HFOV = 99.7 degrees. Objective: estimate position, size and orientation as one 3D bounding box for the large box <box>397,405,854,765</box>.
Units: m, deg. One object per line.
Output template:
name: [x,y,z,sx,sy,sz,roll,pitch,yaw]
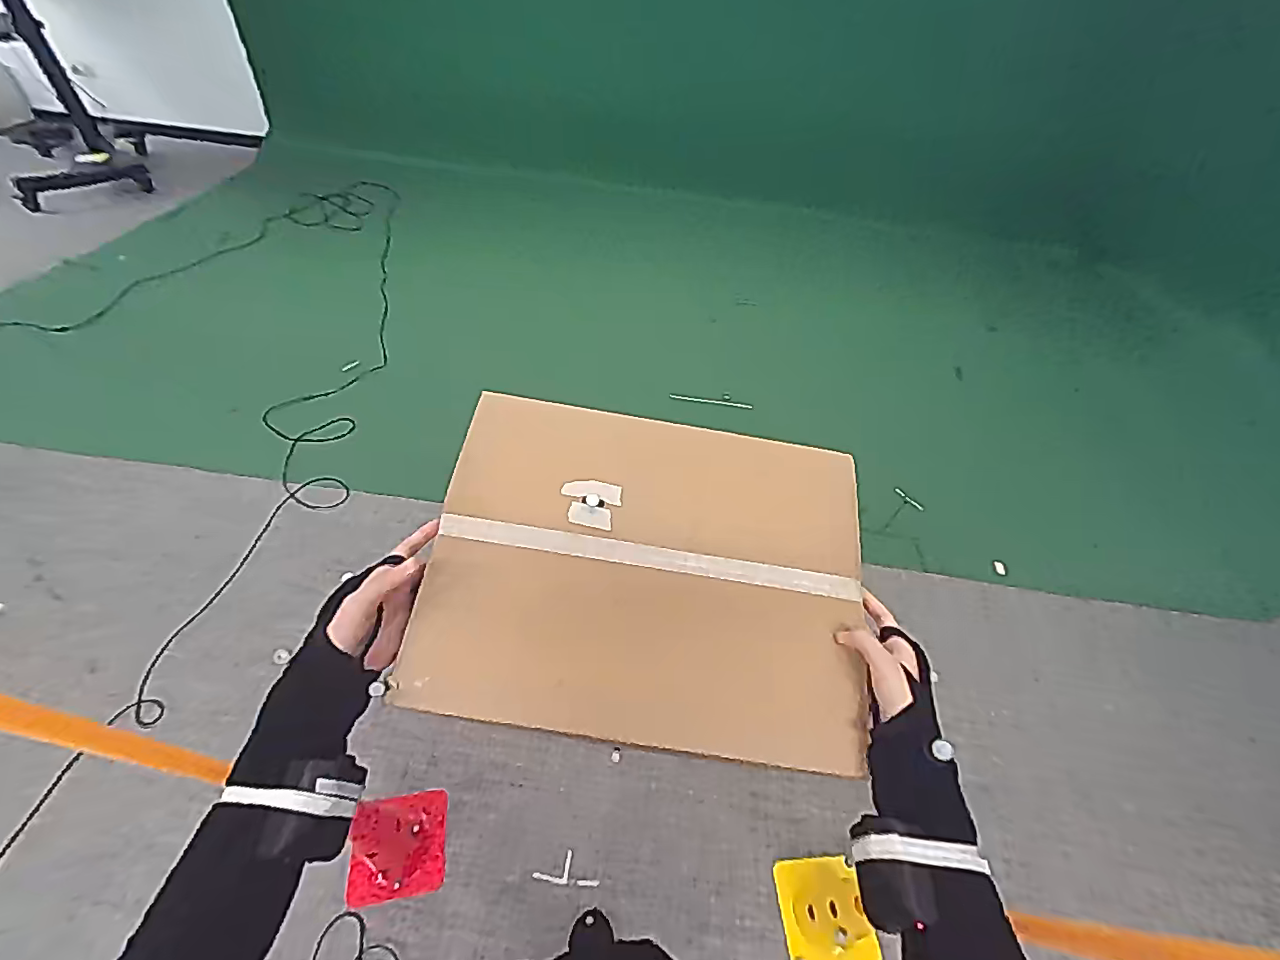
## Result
large box: [-0.003,0.143,0.659,0.408,0.320,0.320,9,63,-1]
